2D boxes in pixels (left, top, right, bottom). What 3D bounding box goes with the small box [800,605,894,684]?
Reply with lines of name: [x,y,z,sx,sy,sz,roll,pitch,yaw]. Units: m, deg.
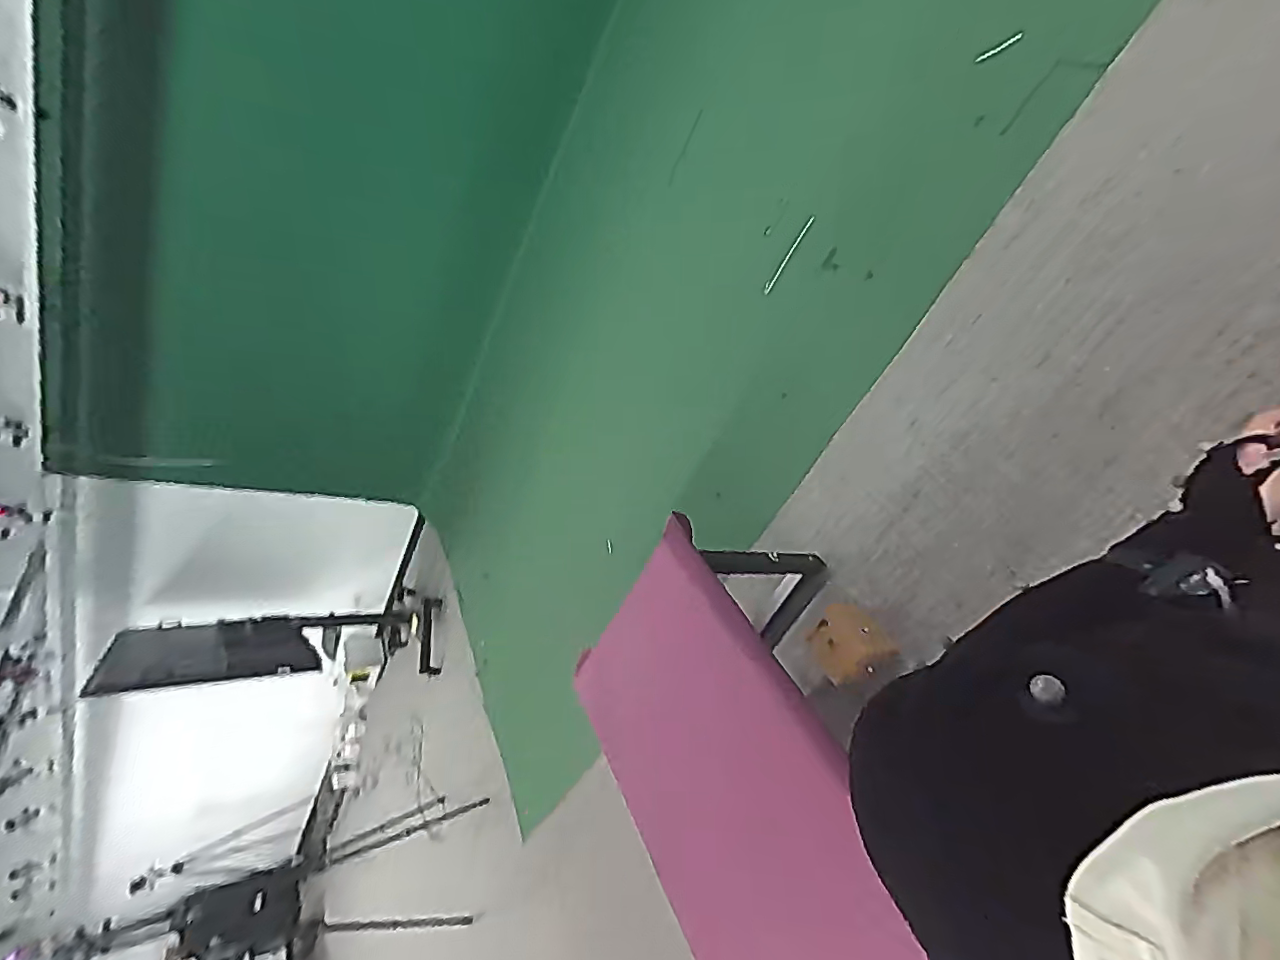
small box: [0.647,0.504,1.684,0.168,0.176,0.179,-58,44,26]
